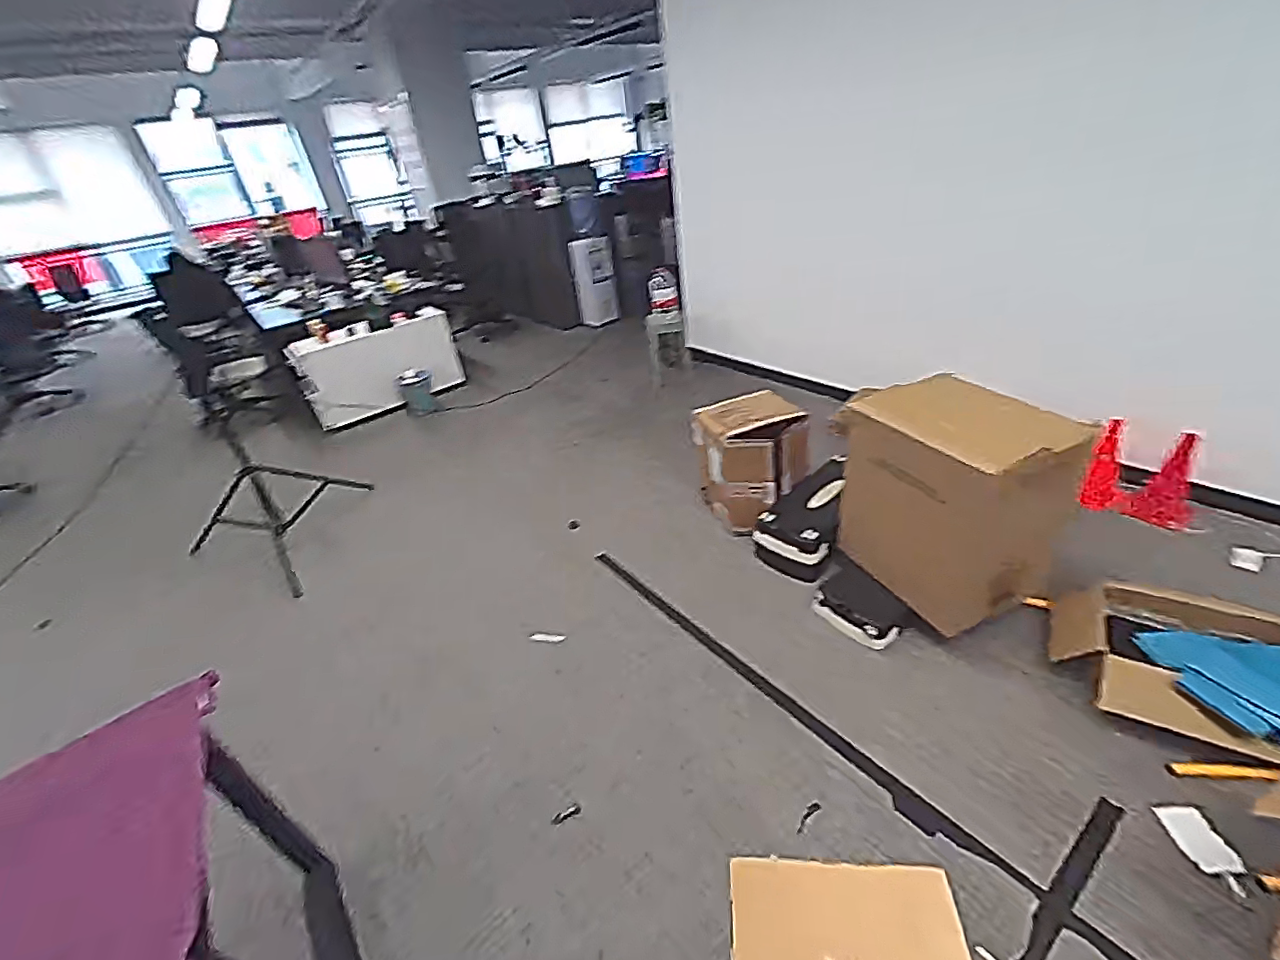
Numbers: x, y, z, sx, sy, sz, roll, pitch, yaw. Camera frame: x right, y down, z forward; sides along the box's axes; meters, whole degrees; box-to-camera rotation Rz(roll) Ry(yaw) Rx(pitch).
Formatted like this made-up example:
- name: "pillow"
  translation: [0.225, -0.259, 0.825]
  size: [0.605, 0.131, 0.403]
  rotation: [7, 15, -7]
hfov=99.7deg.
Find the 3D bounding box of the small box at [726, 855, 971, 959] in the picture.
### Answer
- name: "small box"
  translation: [0.163, 0.428, 0.431]
  size: [0.179, 0.176, 0.168]
  rotation: [-5, 35, 9]
